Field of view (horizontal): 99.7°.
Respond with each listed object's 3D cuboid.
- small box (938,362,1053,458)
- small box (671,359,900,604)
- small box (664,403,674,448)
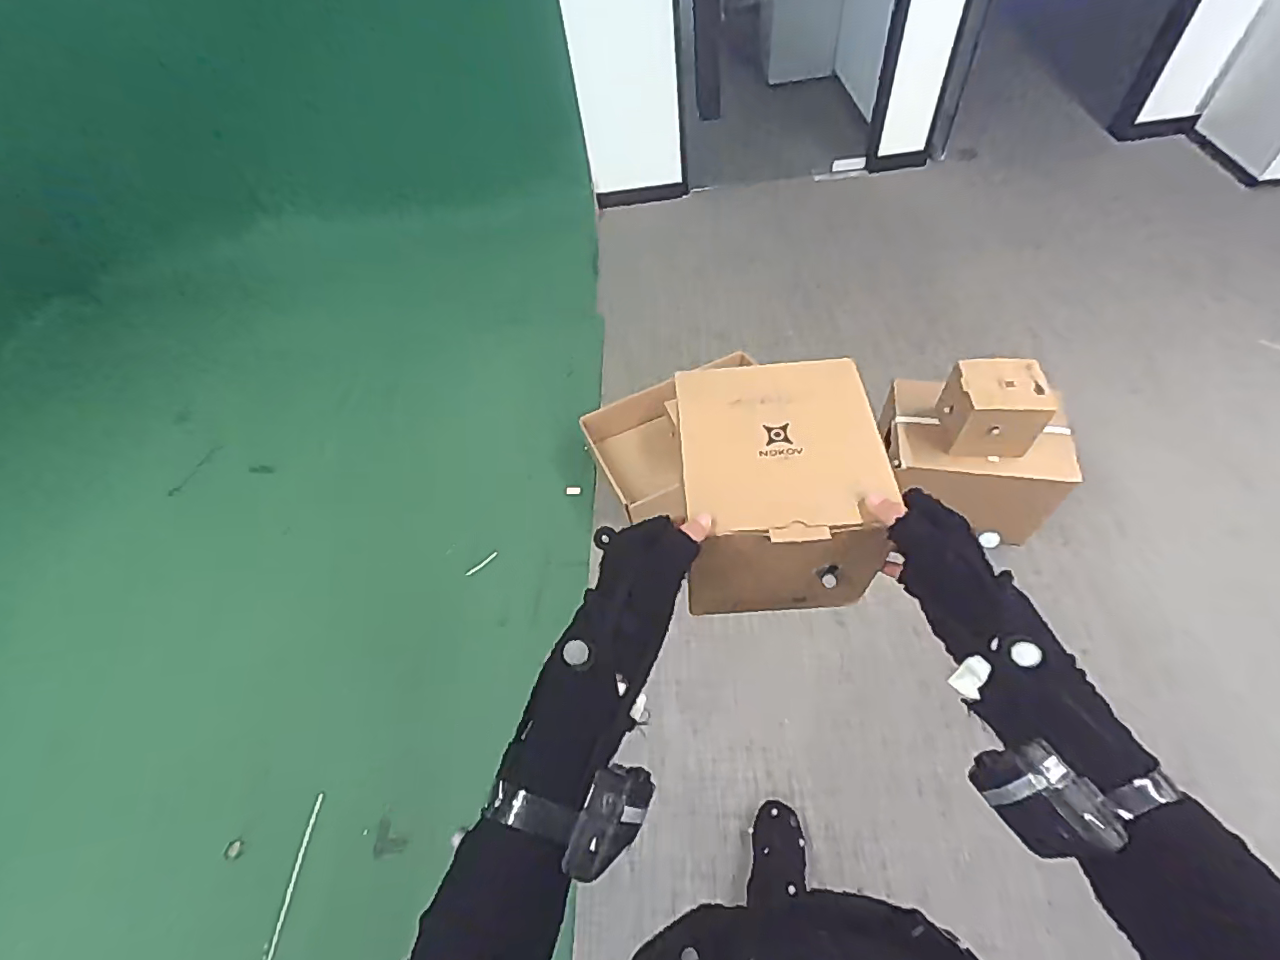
[{"bbox_3d":[0.842,-0.166,1.305,0.179,0.176,0.168,1,55,10],"label":"small box"},{"bbox_3d":[0.119,0.010,0.520,0.168,0.176,0.179,-4,54,2],"label":"small box"},{"bbox_3d":[0.188,-0.148,1.718,0.168,0.176,0.179,-18,52,-4],"label":"small box"}]
